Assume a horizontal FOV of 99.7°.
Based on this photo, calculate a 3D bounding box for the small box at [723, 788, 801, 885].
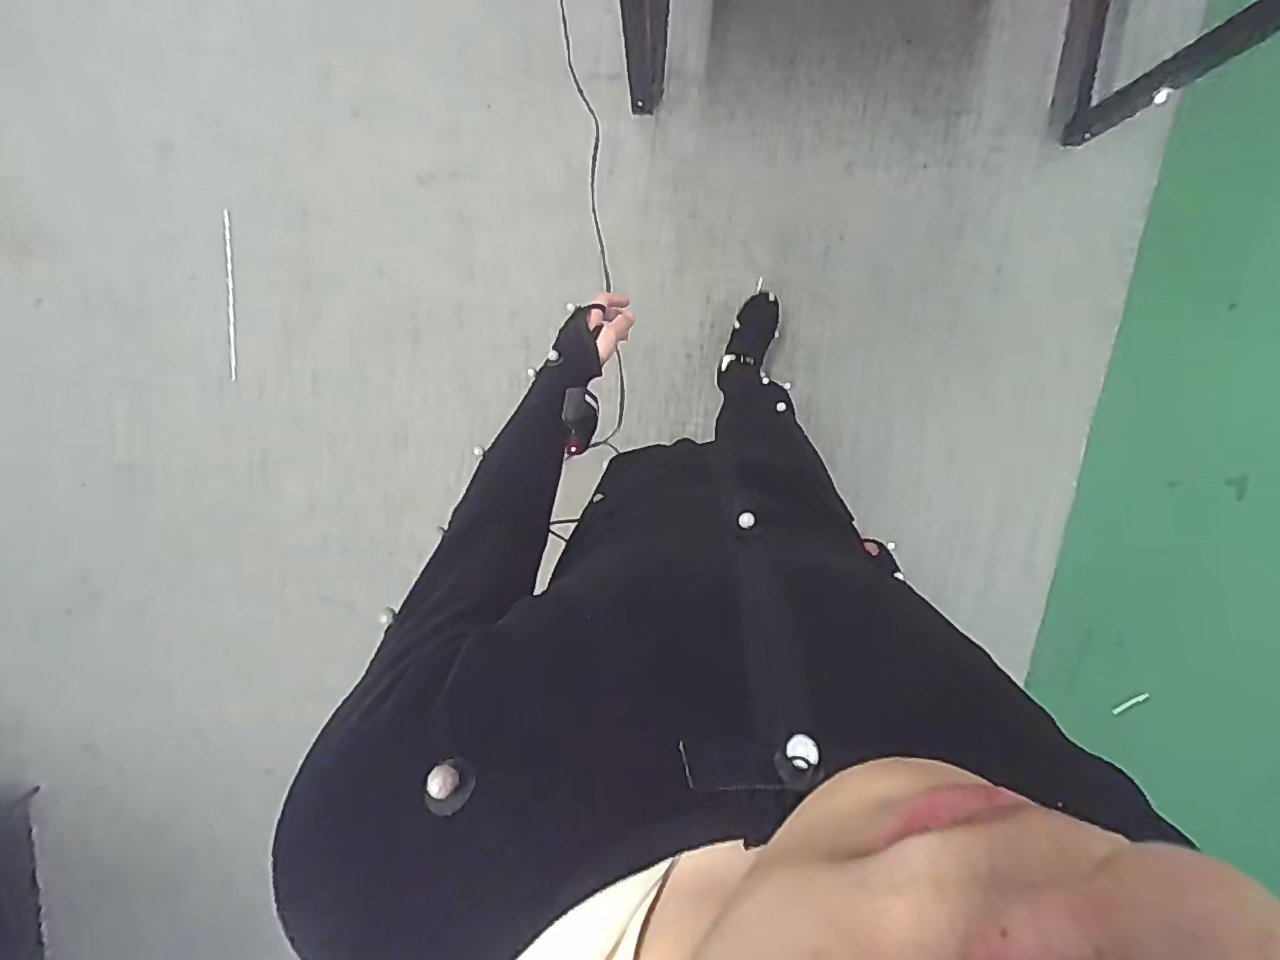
[{"bbox_3d":[0.327,0.994,1.486,0.168,0.176,0.179,12,102,2],"label":"small box"}]
